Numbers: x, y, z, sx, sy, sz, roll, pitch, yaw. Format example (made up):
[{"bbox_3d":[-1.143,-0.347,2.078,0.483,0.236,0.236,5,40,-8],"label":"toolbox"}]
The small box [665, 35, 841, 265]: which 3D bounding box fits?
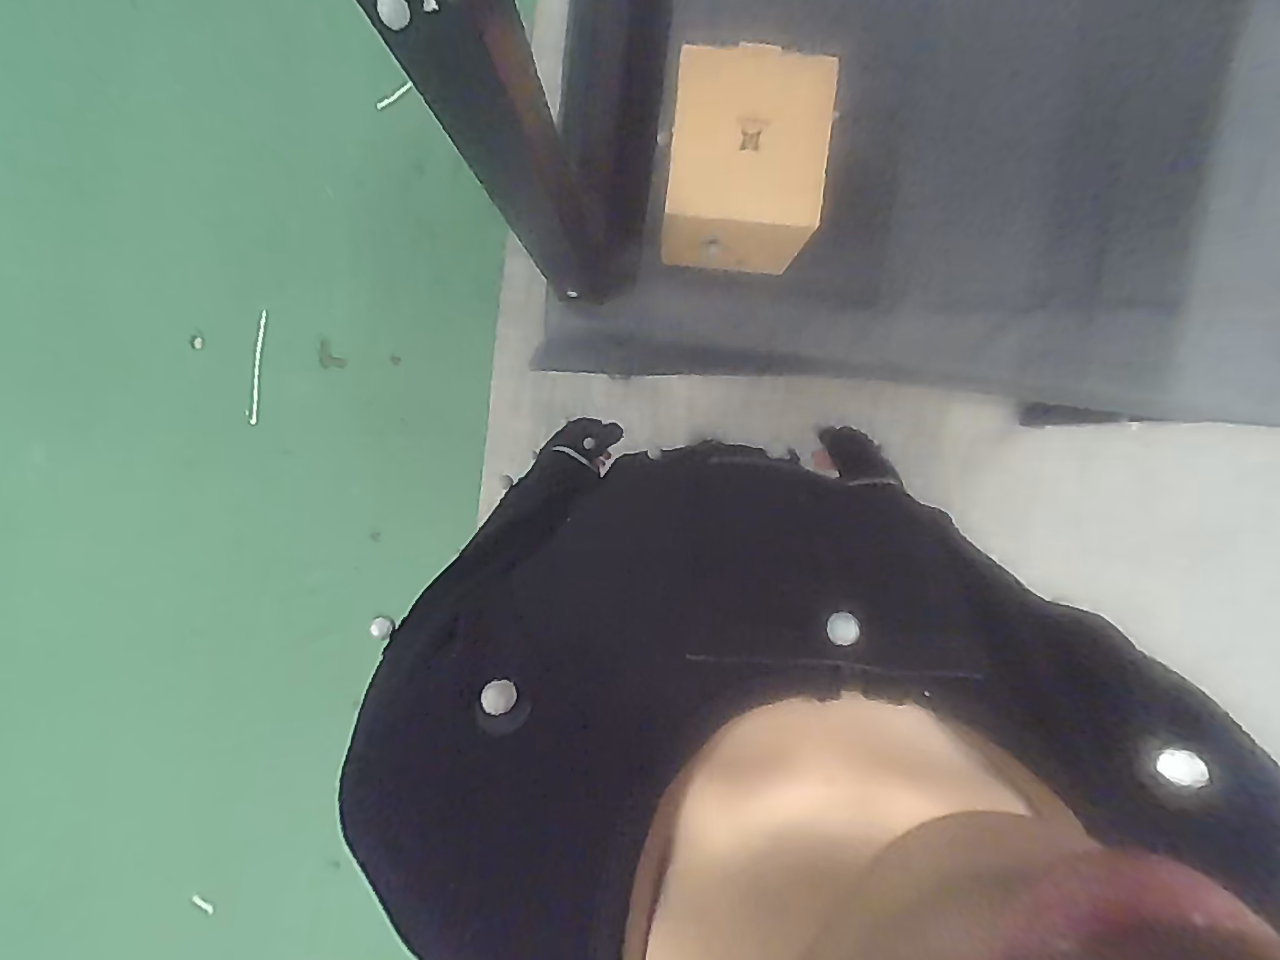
[{"bbox_3d":[0.119,-0.369,0.638,0.168,0.176,0.179,5,94,1],"label":"small box"}]
